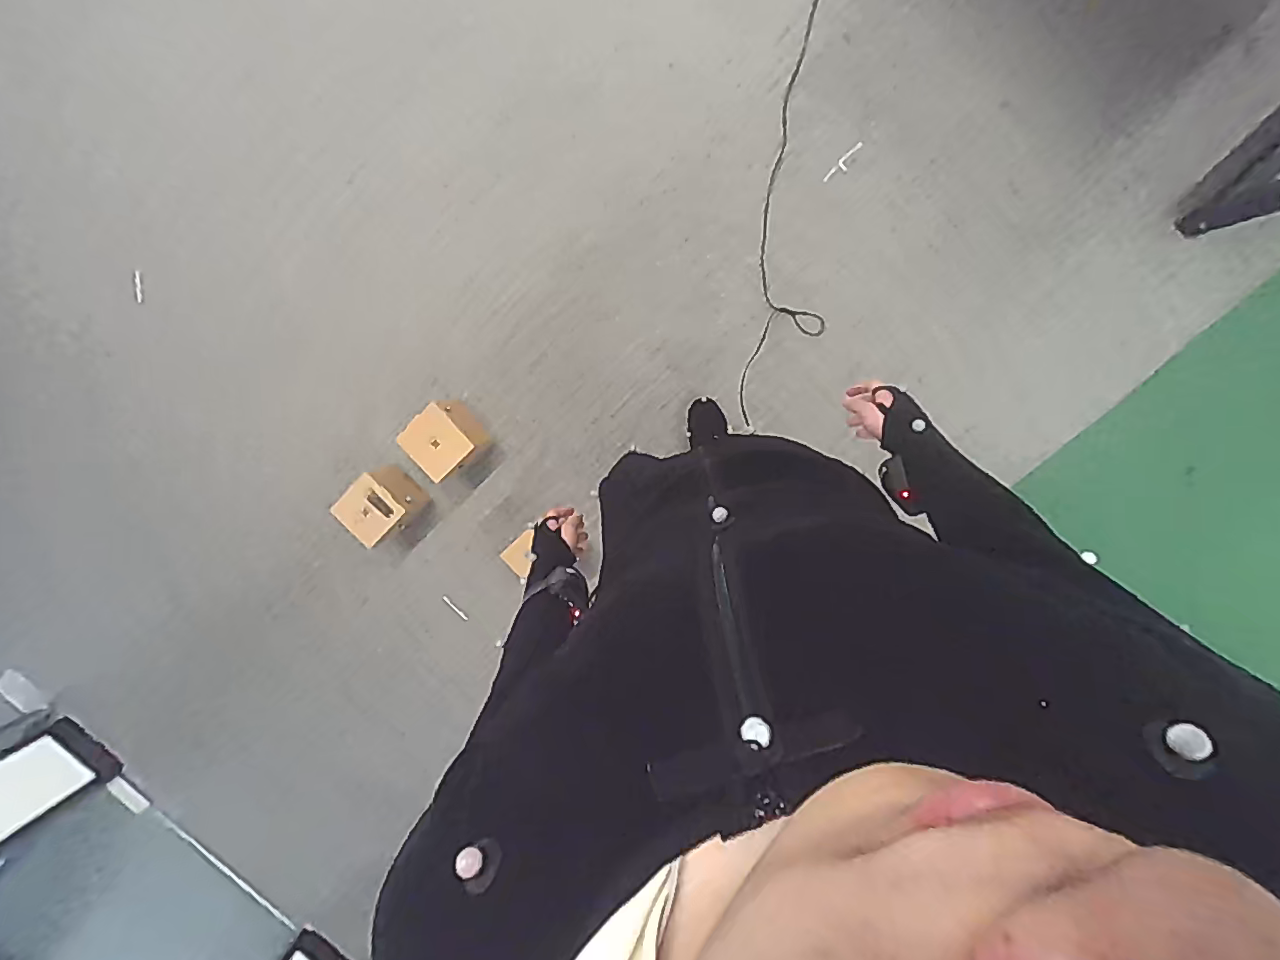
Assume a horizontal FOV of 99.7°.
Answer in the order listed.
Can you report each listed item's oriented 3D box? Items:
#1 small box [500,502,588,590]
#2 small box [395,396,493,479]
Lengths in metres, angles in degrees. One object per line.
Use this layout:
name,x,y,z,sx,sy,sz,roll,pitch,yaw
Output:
small box,-0.278,0.192,1.615,0.179,0.176,0.168,-42,94,12
small box,-0.566,-0.132,1.586,0.168,0.176,0.179,-42,93,12
